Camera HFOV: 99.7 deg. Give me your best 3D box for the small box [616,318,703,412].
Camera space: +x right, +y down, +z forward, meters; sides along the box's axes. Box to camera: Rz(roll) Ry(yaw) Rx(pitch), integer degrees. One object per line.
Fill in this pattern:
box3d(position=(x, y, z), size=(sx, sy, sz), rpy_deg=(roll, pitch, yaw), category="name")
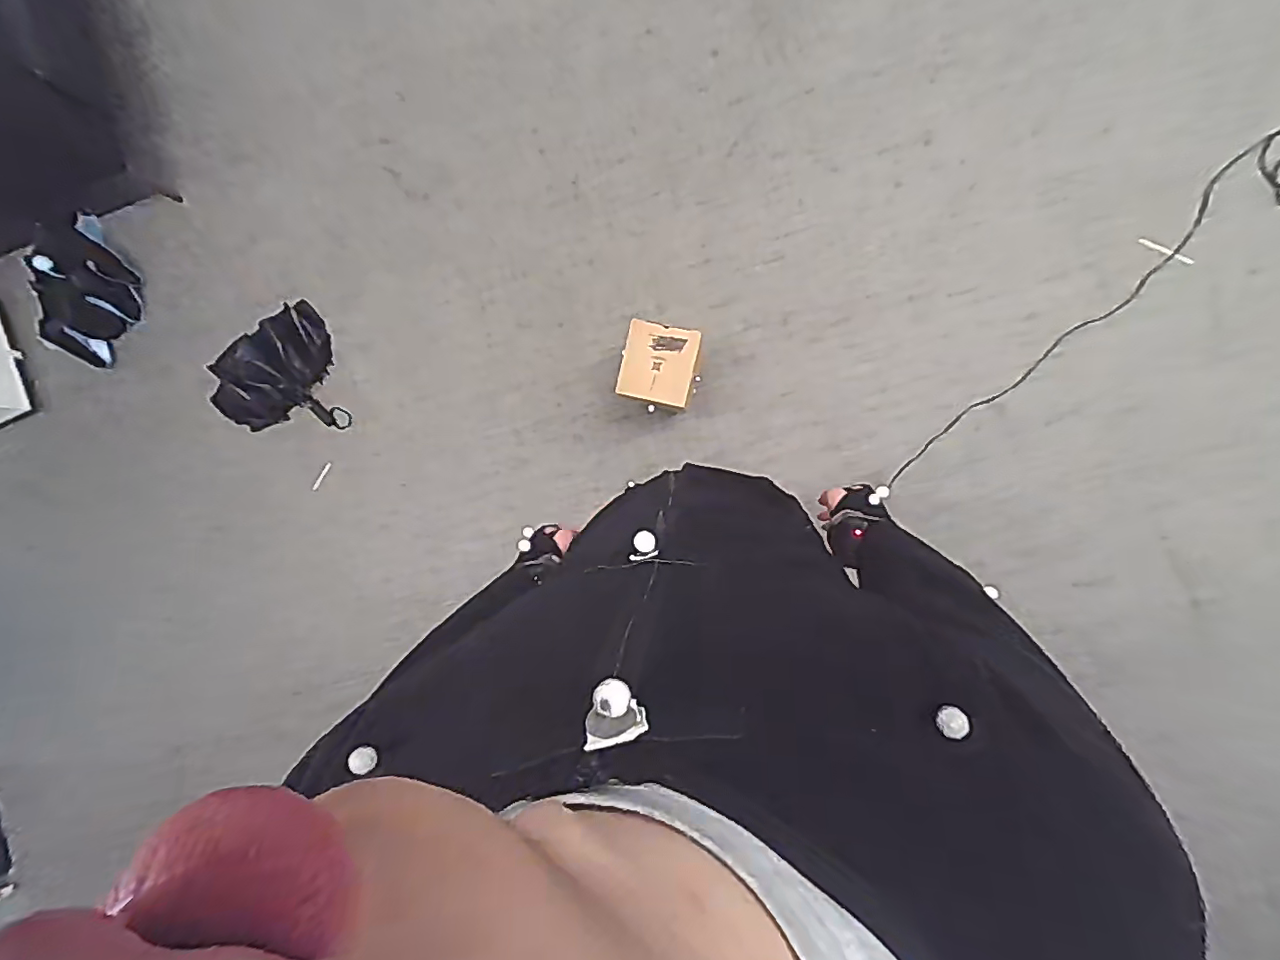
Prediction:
box3d(position=(0.052, -0.270, 1.309), size=(0.168, 0.176, 0.179), rpy_deg=(14, 95, 8), category="small box")
